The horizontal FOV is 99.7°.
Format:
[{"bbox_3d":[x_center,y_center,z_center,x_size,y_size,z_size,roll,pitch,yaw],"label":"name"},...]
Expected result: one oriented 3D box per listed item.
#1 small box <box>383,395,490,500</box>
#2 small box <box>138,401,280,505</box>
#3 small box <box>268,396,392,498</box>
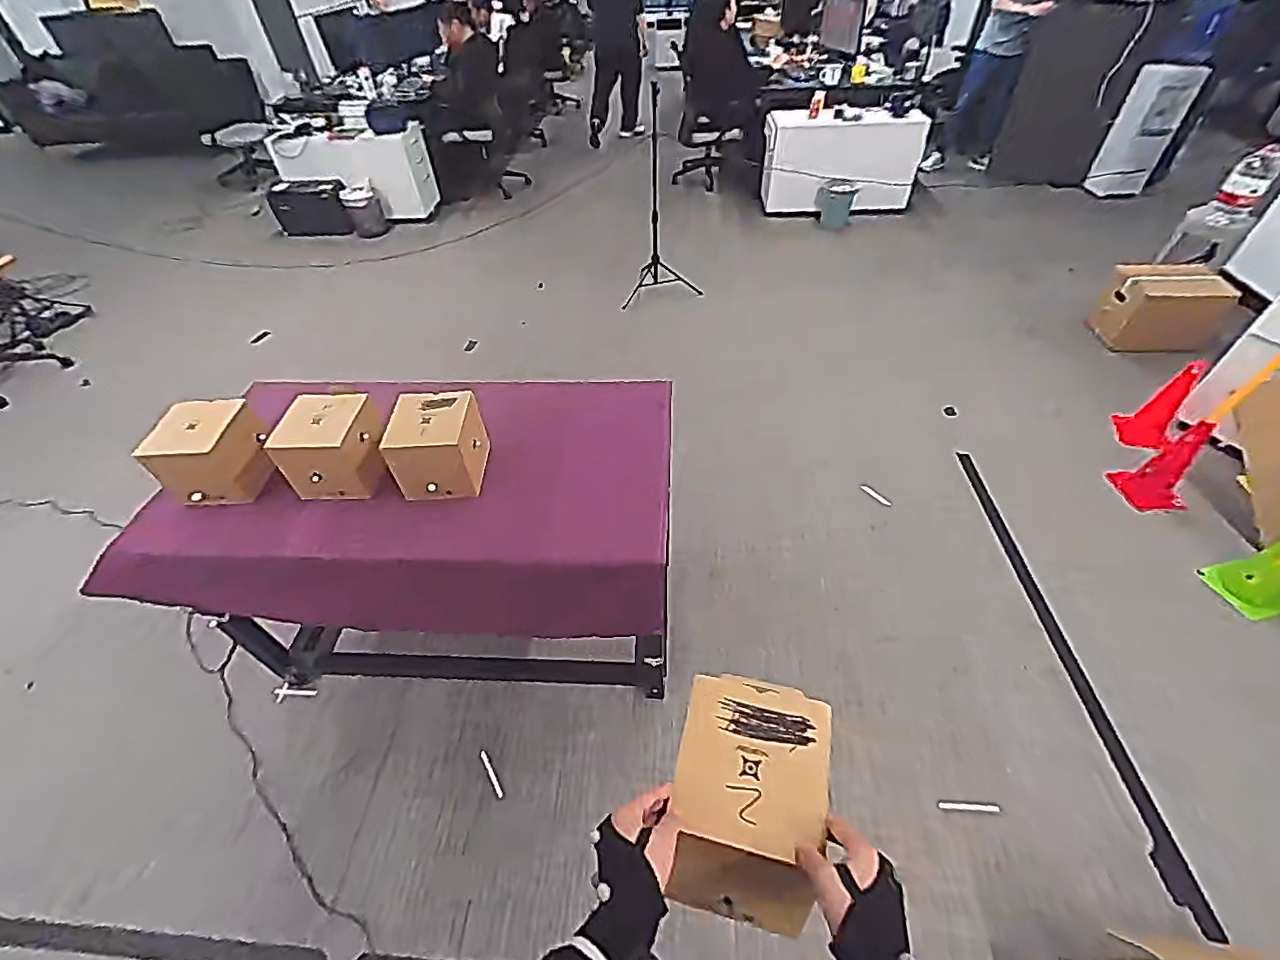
[{"bbox_3d":[-0.449,-0.074,1.228,0.168,0.176,0.179,-3,47,0],"label":"small box"},{"bbox_3d":[-0.965,-0.061,1.241,0.168,0.176,0.179,-2,46,1],"label":"small box"},{"bbox_3d":[-0.691,-0.073,1.238,0.168,0.176,0.179,0,46,2],"label":"small box"}]
